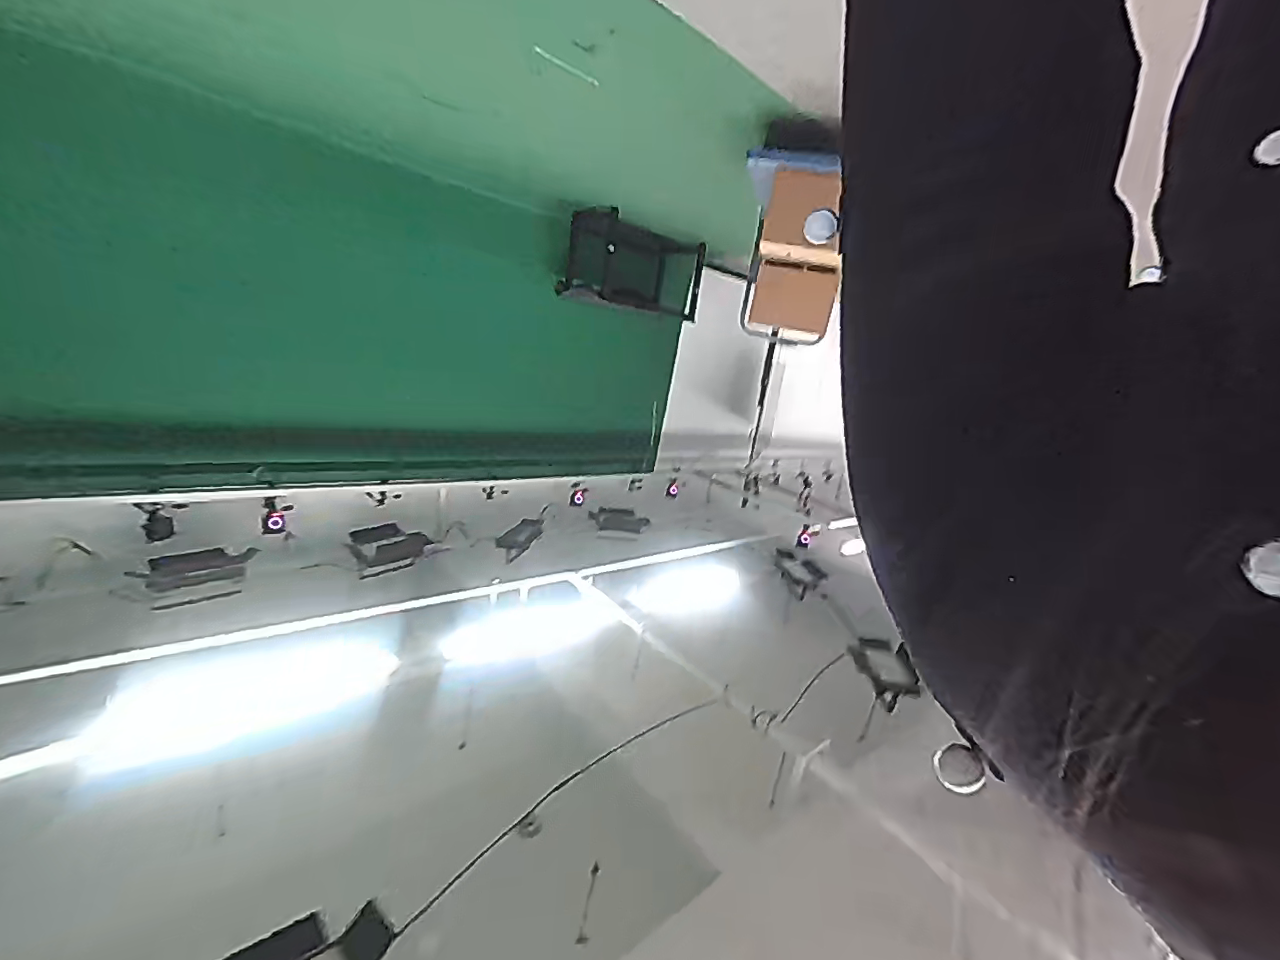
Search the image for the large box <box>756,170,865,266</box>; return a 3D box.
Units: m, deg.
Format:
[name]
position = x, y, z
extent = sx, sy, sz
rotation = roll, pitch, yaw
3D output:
[large box]
position = 0.776, -1.199, 2.496
extent = 0.408, 0.320, 0.320
rotation = 14, -164, 9
